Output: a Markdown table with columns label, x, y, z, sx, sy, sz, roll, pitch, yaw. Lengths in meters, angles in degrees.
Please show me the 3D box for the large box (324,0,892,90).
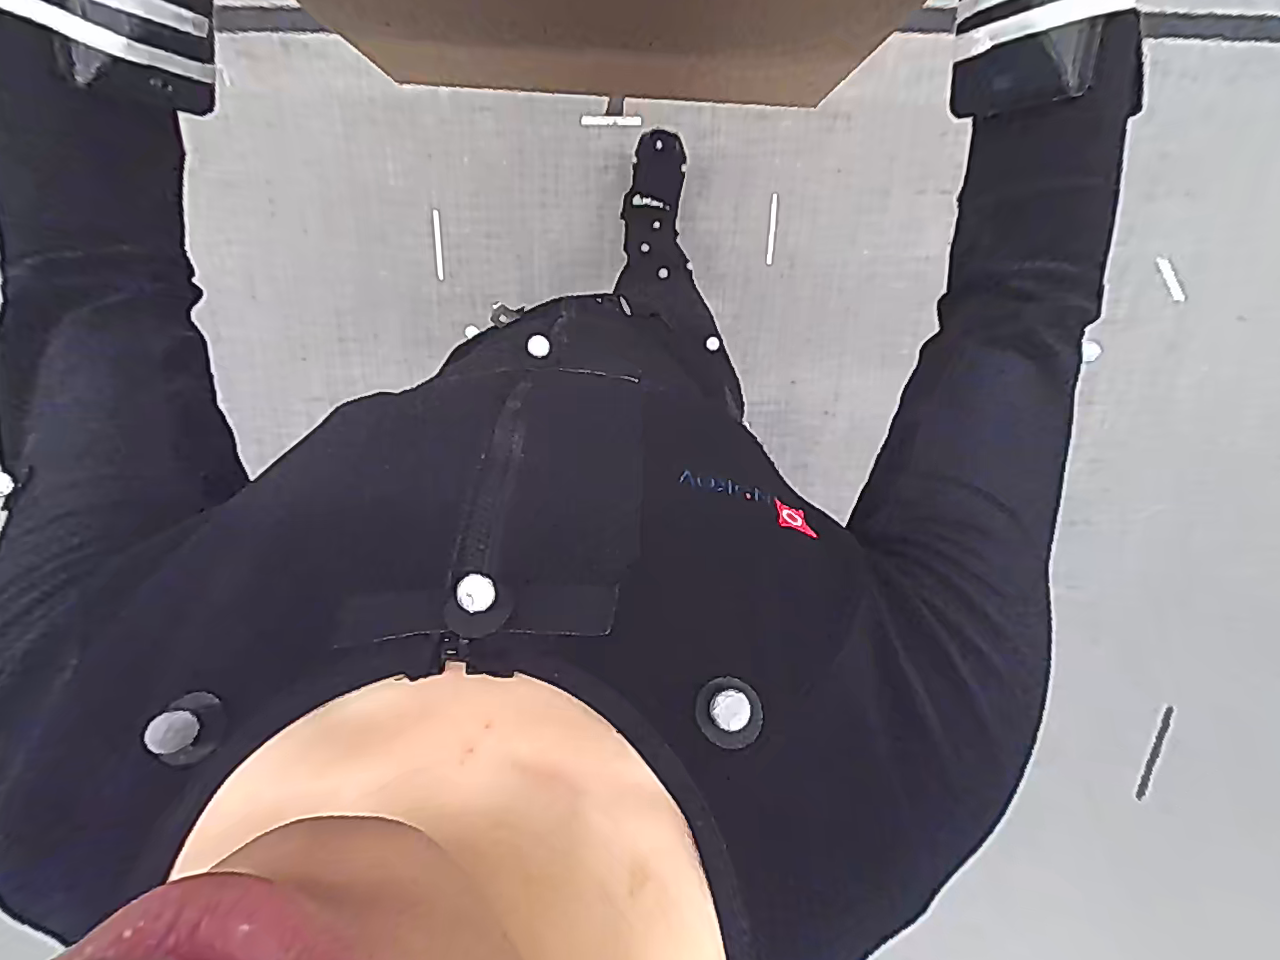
| label | x | y | z | sx | sy | sz | roll | pitch | yaw |
| --- | --- | --- | --- | --- | --- | --- | --- | --- | --- |
| large box | -0.024 | -0.470 | 0.326 | 0.408 | 0.320 | 0.320 | 2 | 110 | -2 |
